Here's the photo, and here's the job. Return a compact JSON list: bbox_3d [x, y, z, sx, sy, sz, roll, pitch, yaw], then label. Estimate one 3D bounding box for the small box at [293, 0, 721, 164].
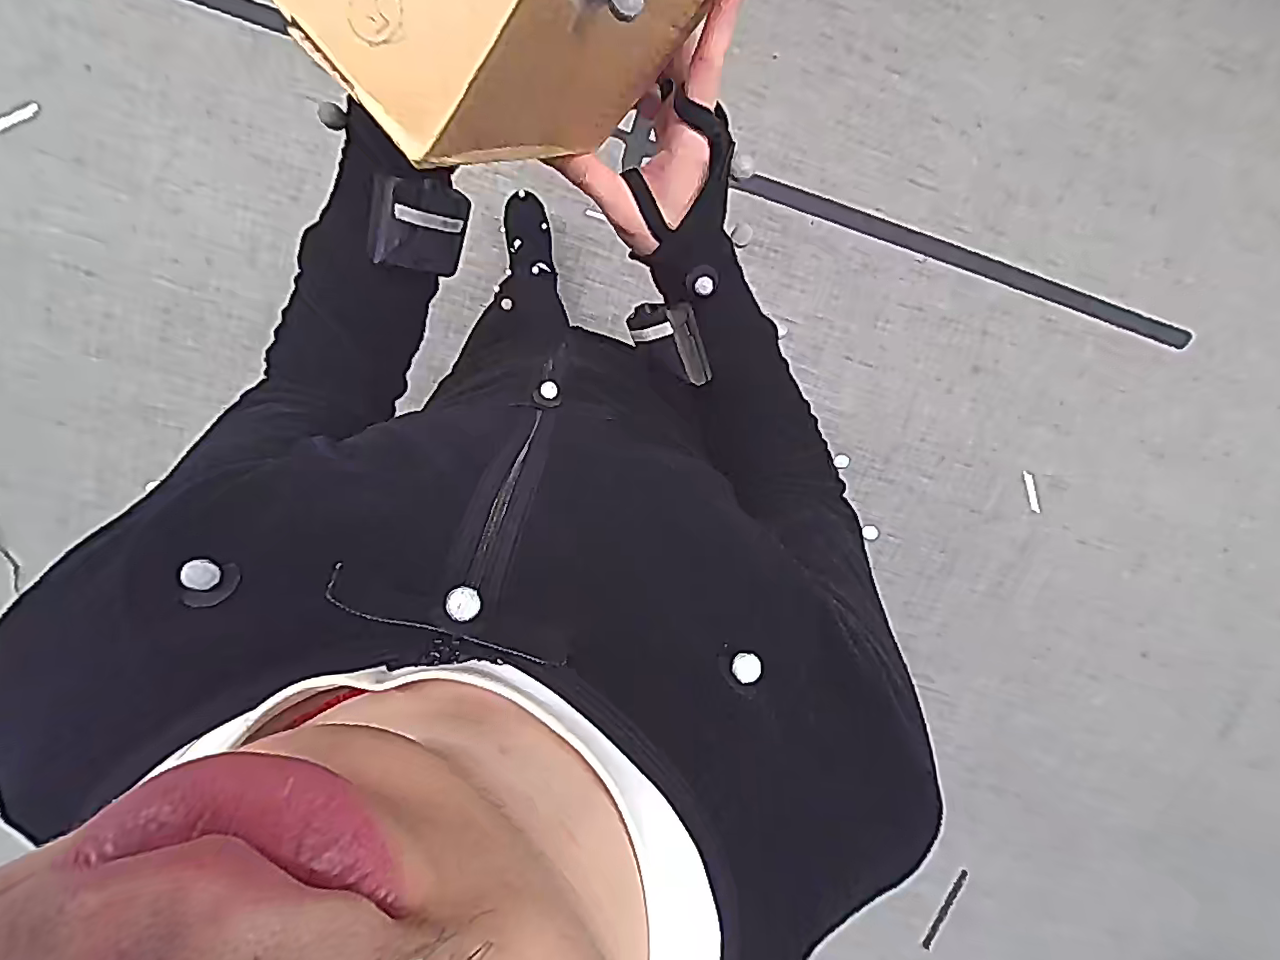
[{"bbox_3d":[-0.044,-0.255,0.201,0.179,0.176,0.168,-33,106,34],"label":"small box"}]
